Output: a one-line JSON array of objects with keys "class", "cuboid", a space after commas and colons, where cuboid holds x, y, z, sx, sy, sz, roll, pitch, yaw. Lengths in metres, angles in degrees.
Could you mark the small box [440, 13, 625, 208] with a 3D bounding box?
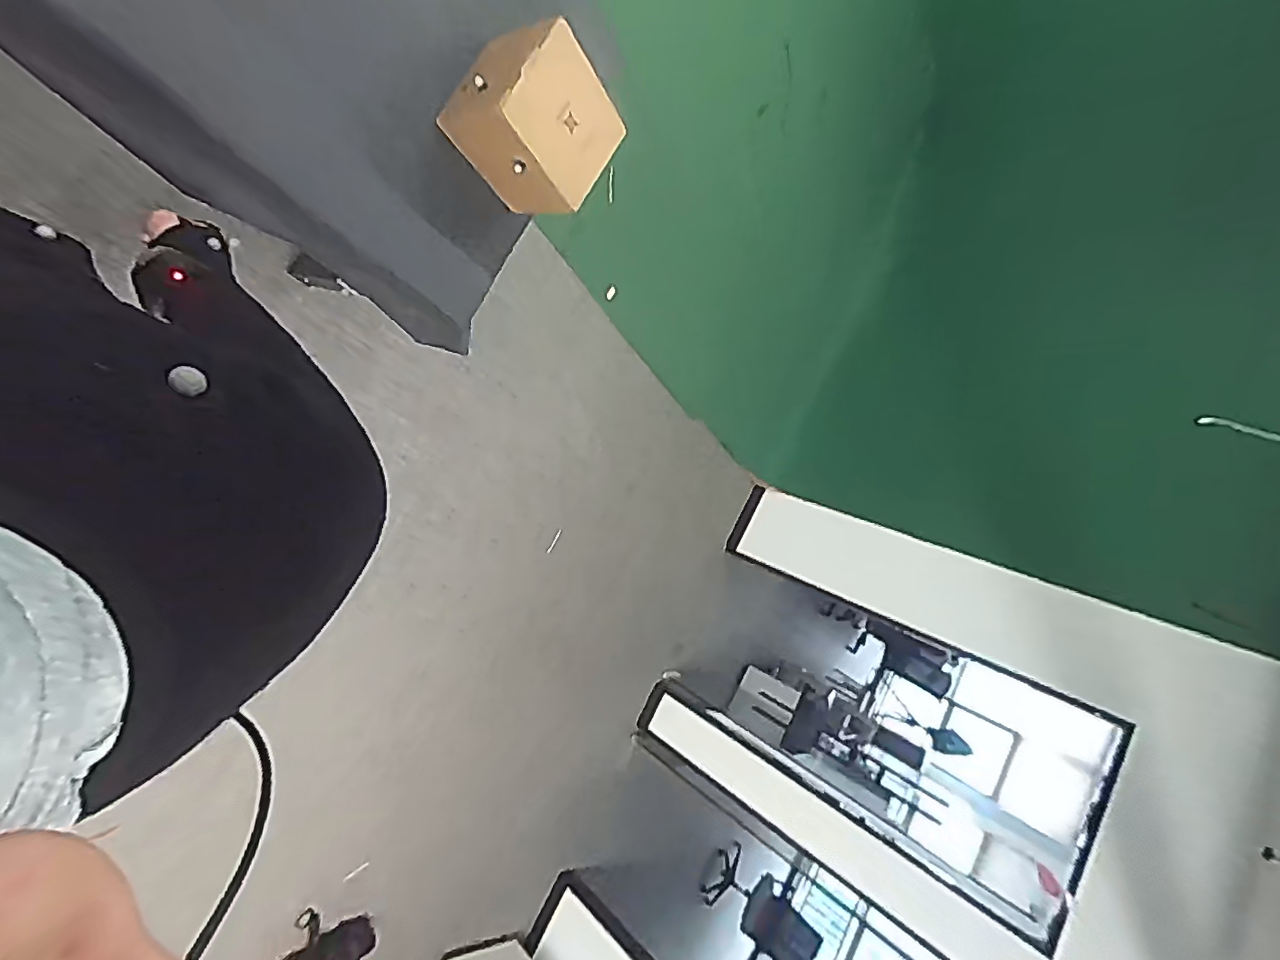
[{"class": "small box", "cuboid": [-0.161, -0.536, 0.812, 0.168, 0.176, 0.179, -60, 143, -8]}]
